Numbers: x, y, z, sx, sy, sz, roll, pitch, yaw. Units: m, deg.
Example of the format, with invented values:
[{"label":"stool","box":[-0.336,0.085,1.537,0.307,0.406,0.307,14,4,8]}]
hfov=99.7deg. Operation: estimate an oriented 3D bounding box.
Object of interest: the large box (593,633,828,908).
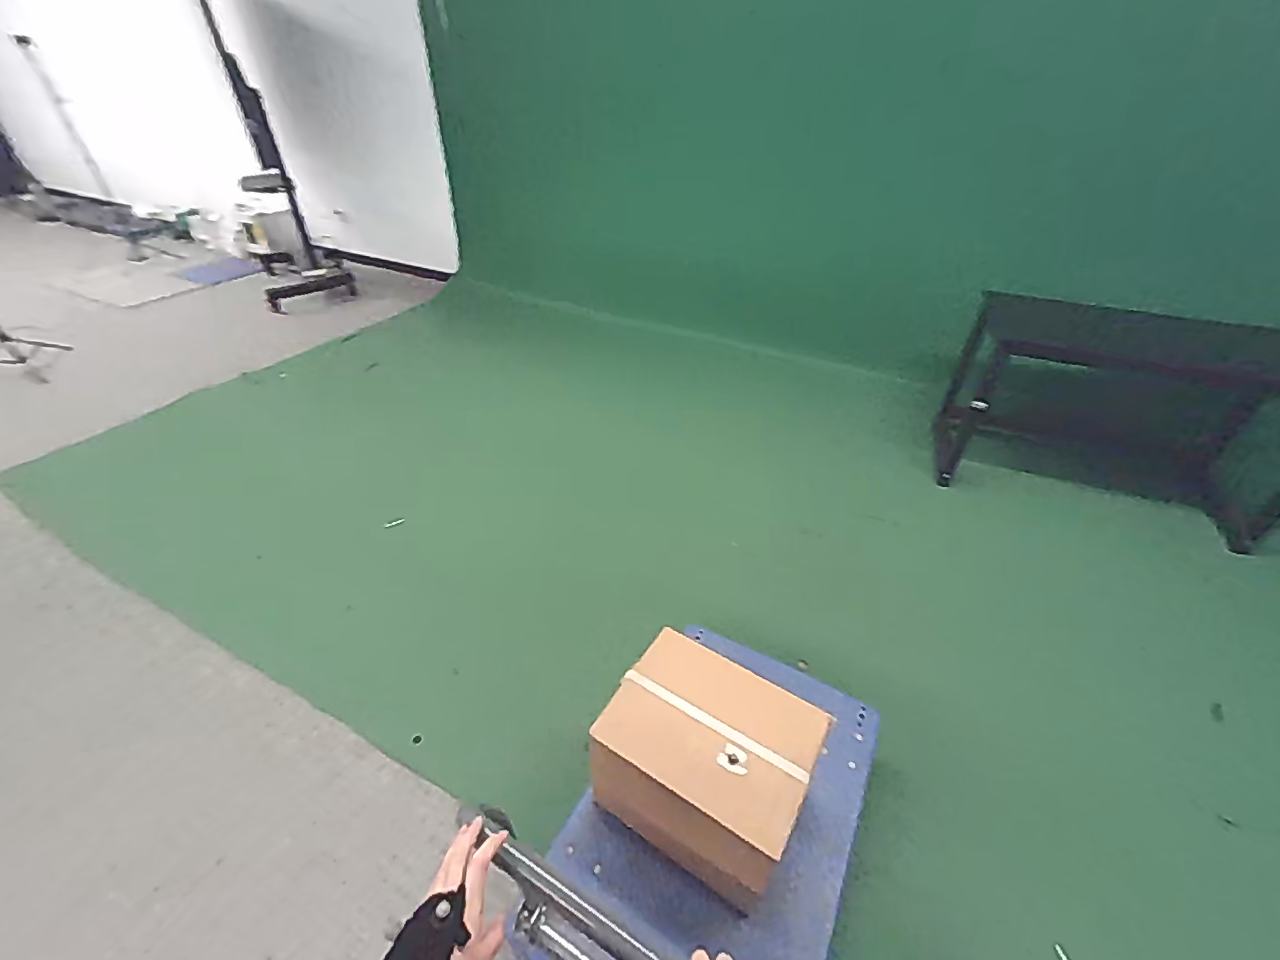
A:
[{"label":"large box","box":[0.142,0.625,1.203,0.408,0.320,0.320,23,42,24]}]
